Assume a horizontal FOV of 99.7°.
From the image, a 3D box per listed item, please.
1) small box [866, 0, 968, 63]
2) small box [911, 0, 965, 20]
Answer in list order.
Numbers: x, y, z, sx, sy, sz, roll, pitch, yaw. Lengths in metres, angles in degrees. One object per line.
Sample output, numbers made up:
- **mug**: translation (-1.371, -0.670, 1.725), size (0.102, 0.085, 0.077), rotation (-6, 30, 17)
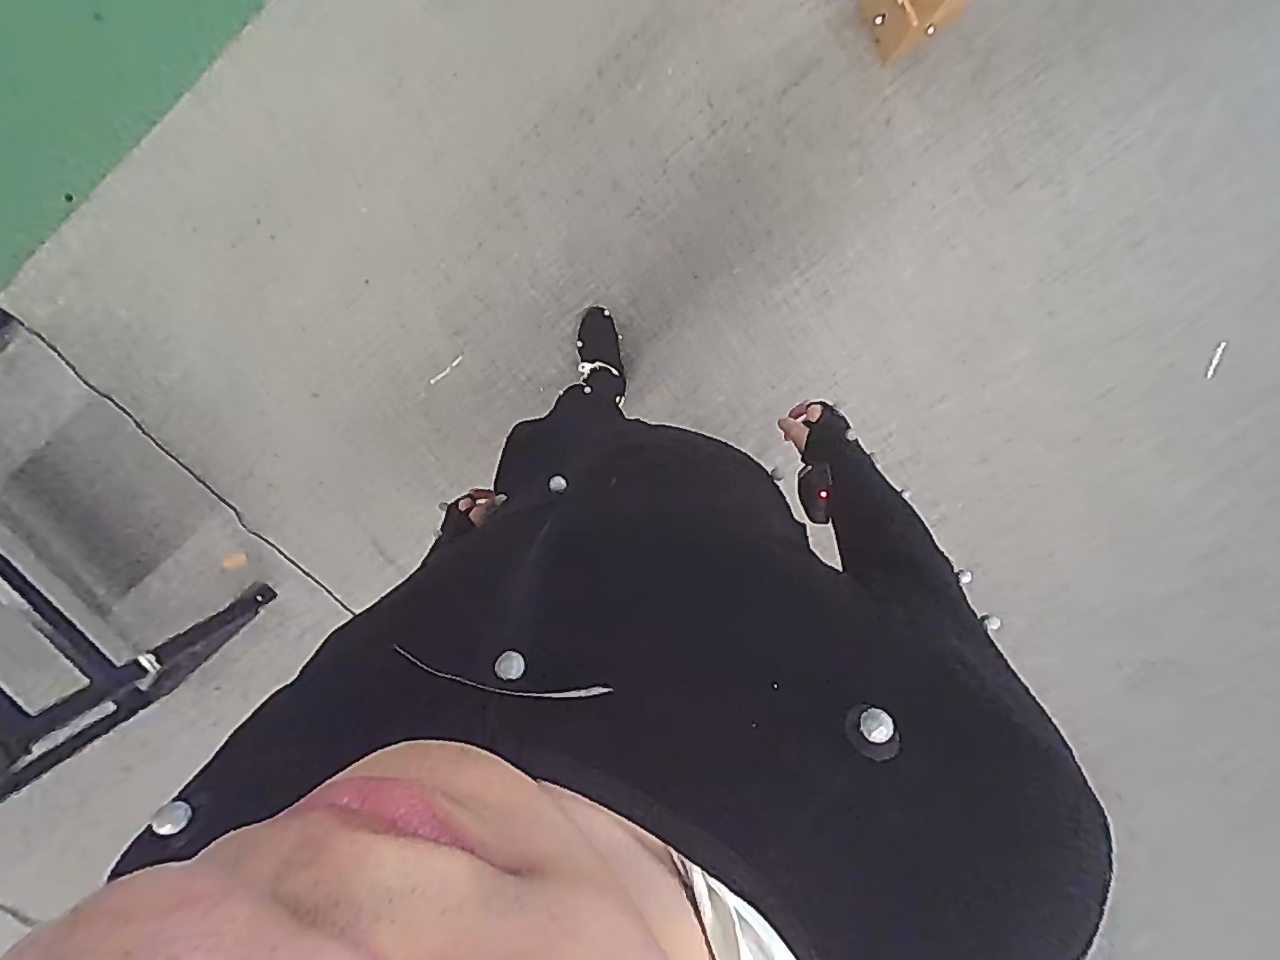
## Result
- **small box**: translation (0.654, -1.140, 1.267), size (0.179, 0.176, 0.168), rotation (-29, 99, 10)
- **small box**: translation (0.658, -1.104, 1.108), size (0.168, 0.176, 0.179), rotation (-31, 98, 8)
